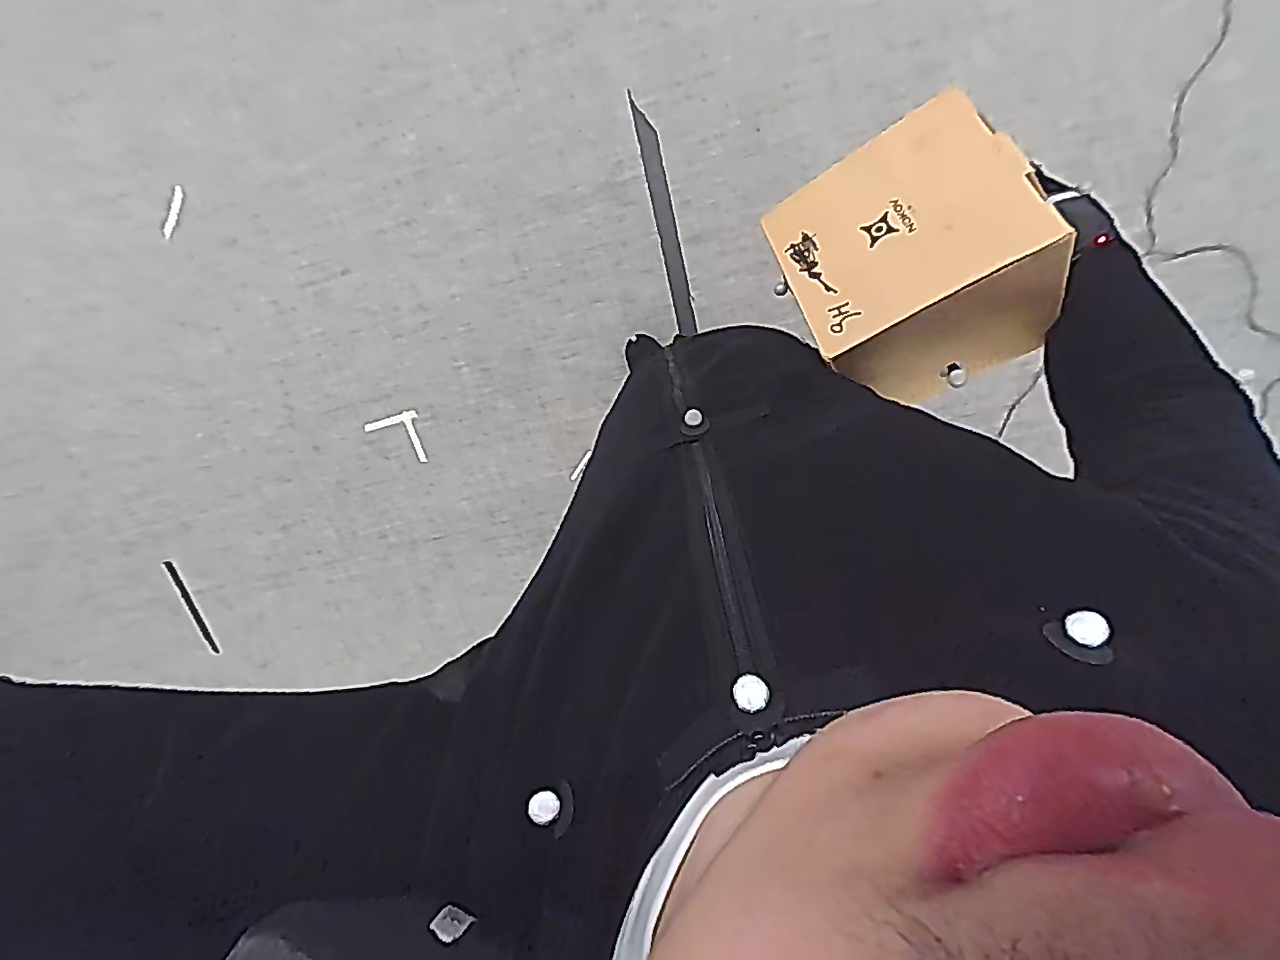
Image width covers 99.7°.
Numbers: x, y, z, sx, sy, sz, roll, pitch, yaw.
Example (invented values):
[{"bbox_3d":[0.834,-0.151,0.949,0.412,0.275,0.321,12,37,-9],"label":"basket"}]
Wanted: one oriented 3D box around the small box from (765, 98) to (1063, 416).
[{"bbox_3d":[0.247,-0.187,0.506,0.179,0.176,0.168,-26,63,25],"label":"small box"}]
